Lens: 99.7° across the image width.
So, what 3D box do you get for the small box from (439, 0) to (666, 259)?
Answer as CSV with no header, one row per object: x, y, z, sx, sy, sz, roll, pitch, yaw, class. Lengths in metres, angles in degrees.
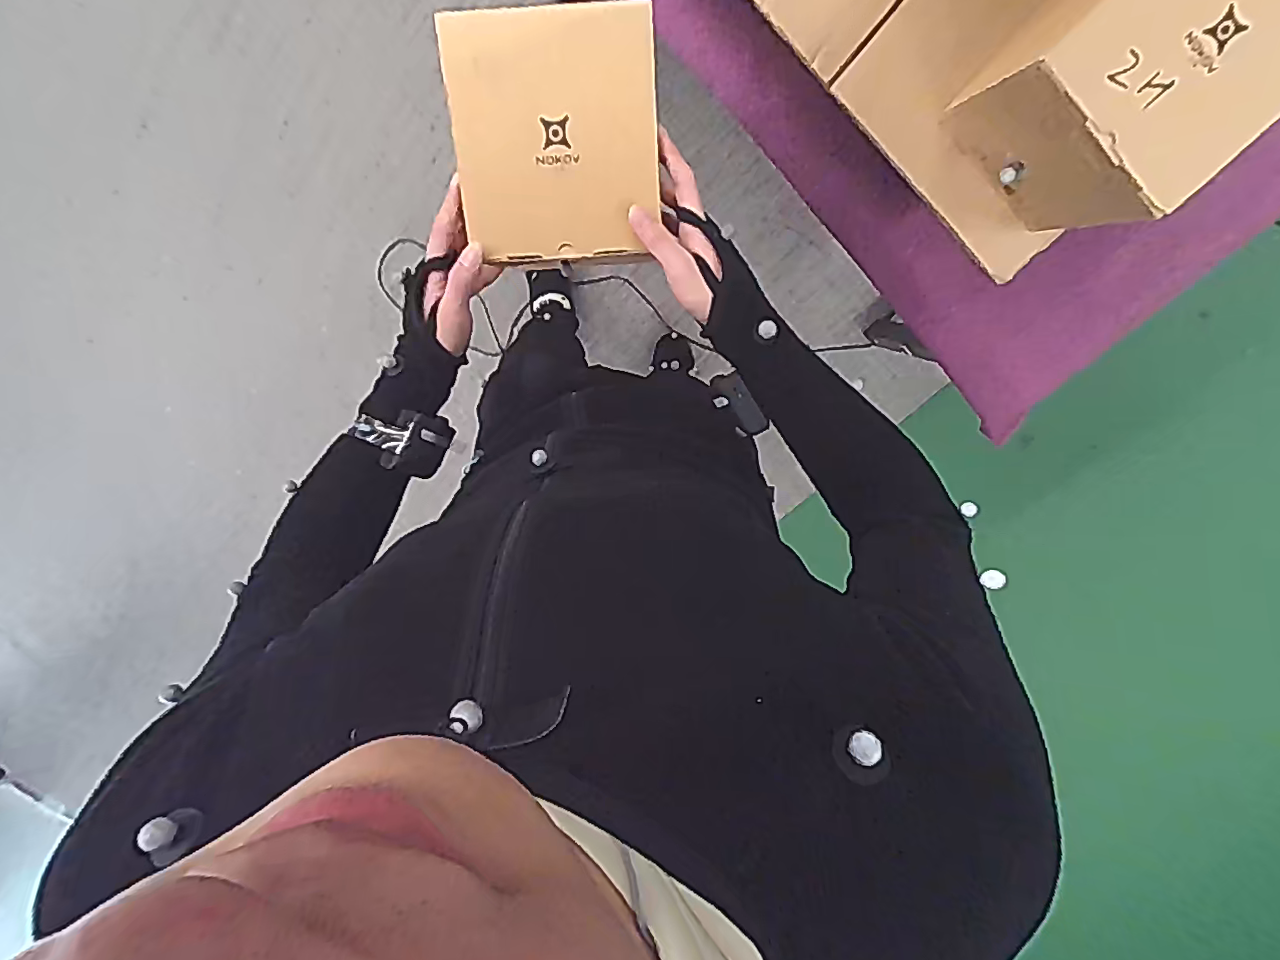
-0.066,-0.303,0.498,0.168,0.176,0.179,-4,112,0,small box

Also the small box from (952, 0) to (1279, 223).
0.420,-0.351,0.464,0.168,0.176,0.179,40,108,-12,small box
